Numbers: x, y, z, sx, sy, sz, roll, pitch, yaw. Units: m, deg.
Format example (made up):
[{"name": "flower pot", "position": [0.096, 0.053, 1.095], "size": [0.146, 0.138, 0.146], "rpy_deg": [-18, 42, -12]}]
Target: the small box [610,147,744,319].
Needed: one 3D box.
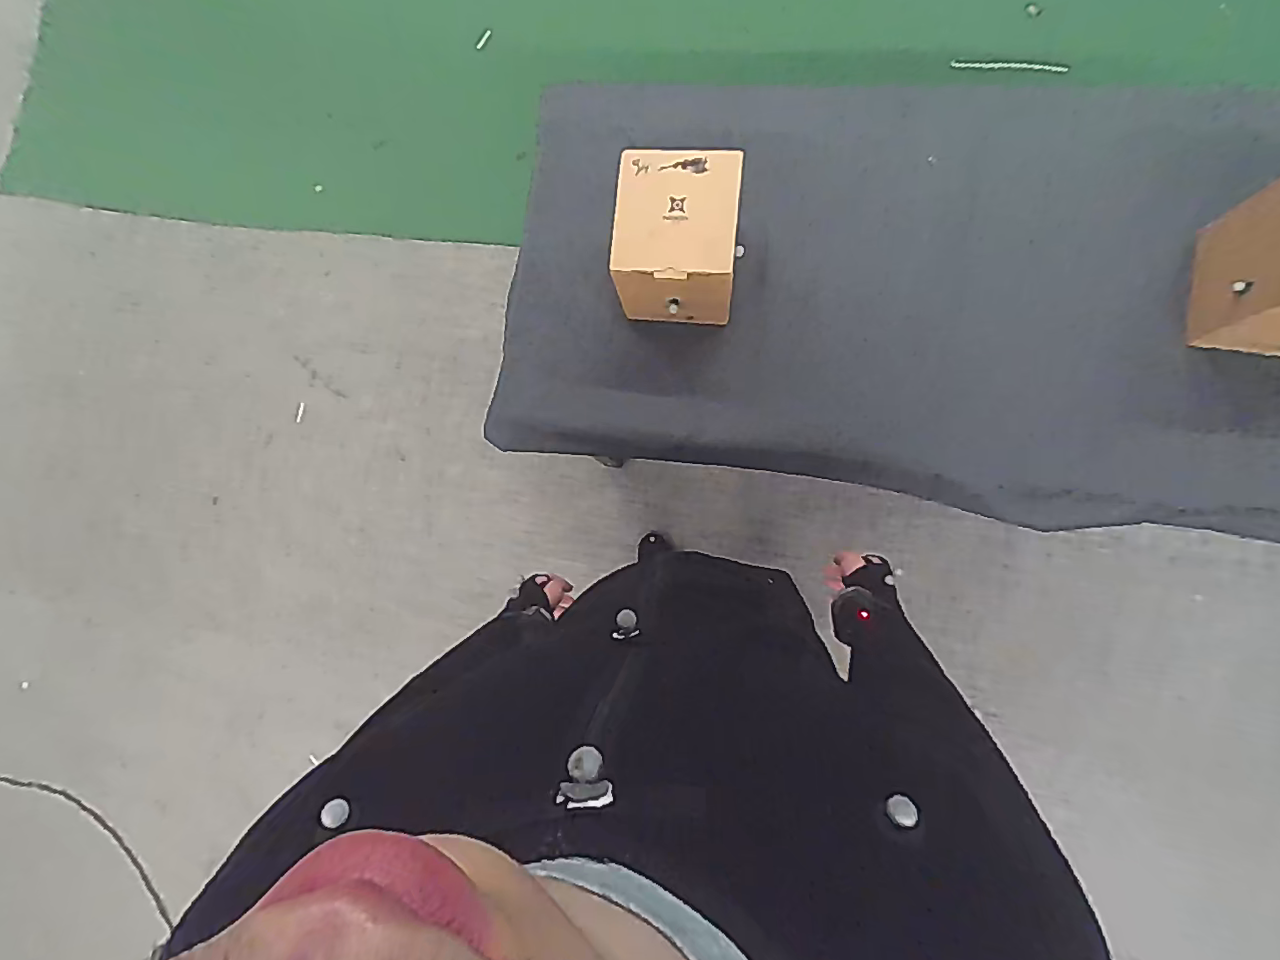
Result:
[{"name": "small box", "position": [0.059, -0.350, 0.793], "size": [0.168, 0.176, 0.179], "rpy_deg": [5, 86, 7]}]

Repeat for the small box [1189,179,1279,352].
[{"name": "small box", "position": [0.854, -0.270, 0.679], "size": [0.168, 0.176, 0.179], "rpy_deg": [10, 85, 7]}]
